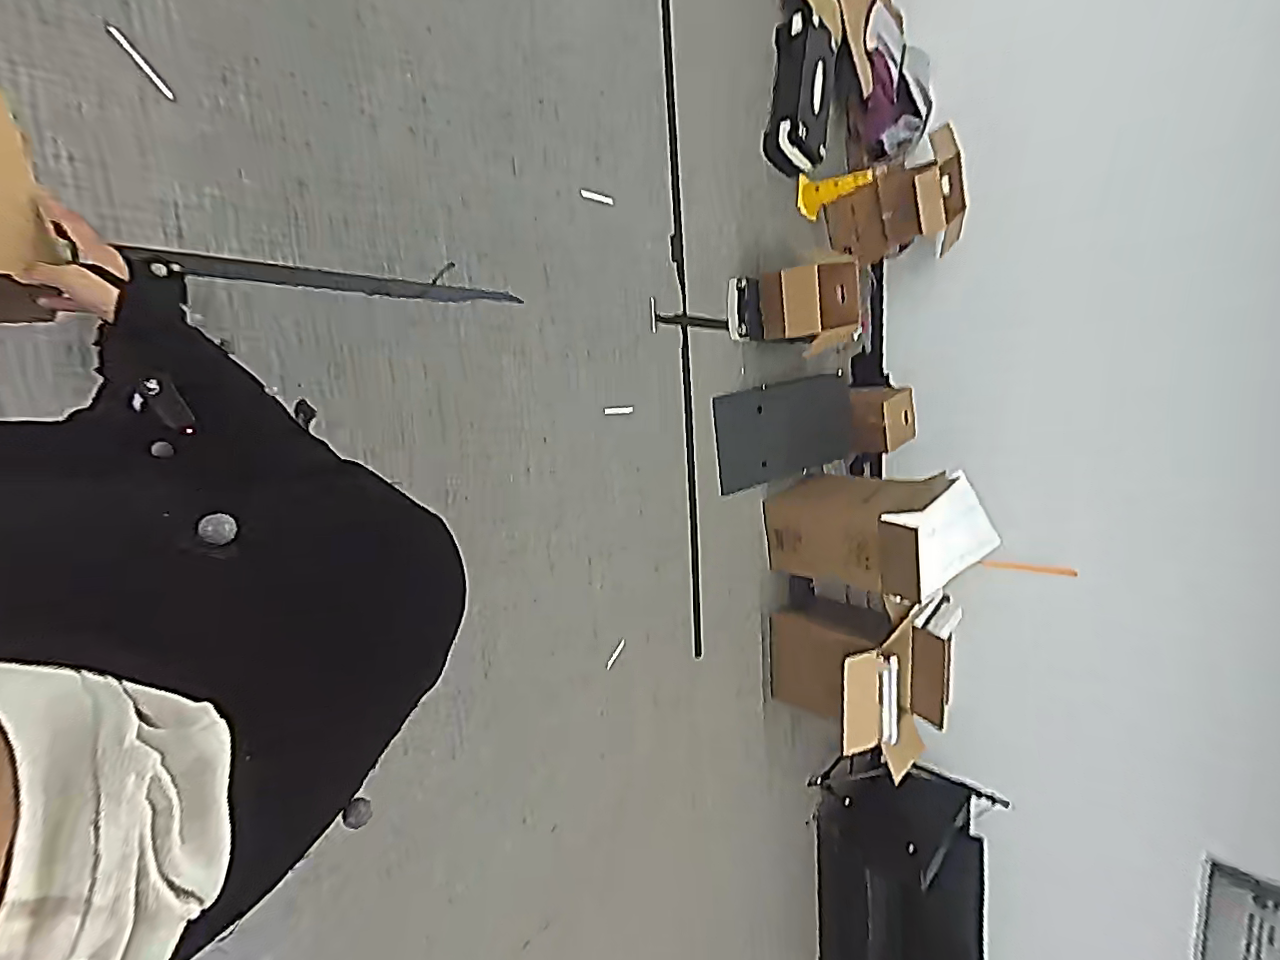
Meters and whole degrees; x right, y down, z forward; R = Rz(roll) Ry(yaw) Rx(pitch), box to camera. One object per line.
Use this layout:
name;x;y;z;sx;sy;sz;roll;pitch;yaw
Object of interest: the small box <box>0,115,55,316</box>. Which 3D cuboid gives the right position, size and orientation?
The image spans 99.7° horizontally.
small box;-0.674;-0.257;0.479;0.168;0.176;0.179;-25;103;-50
